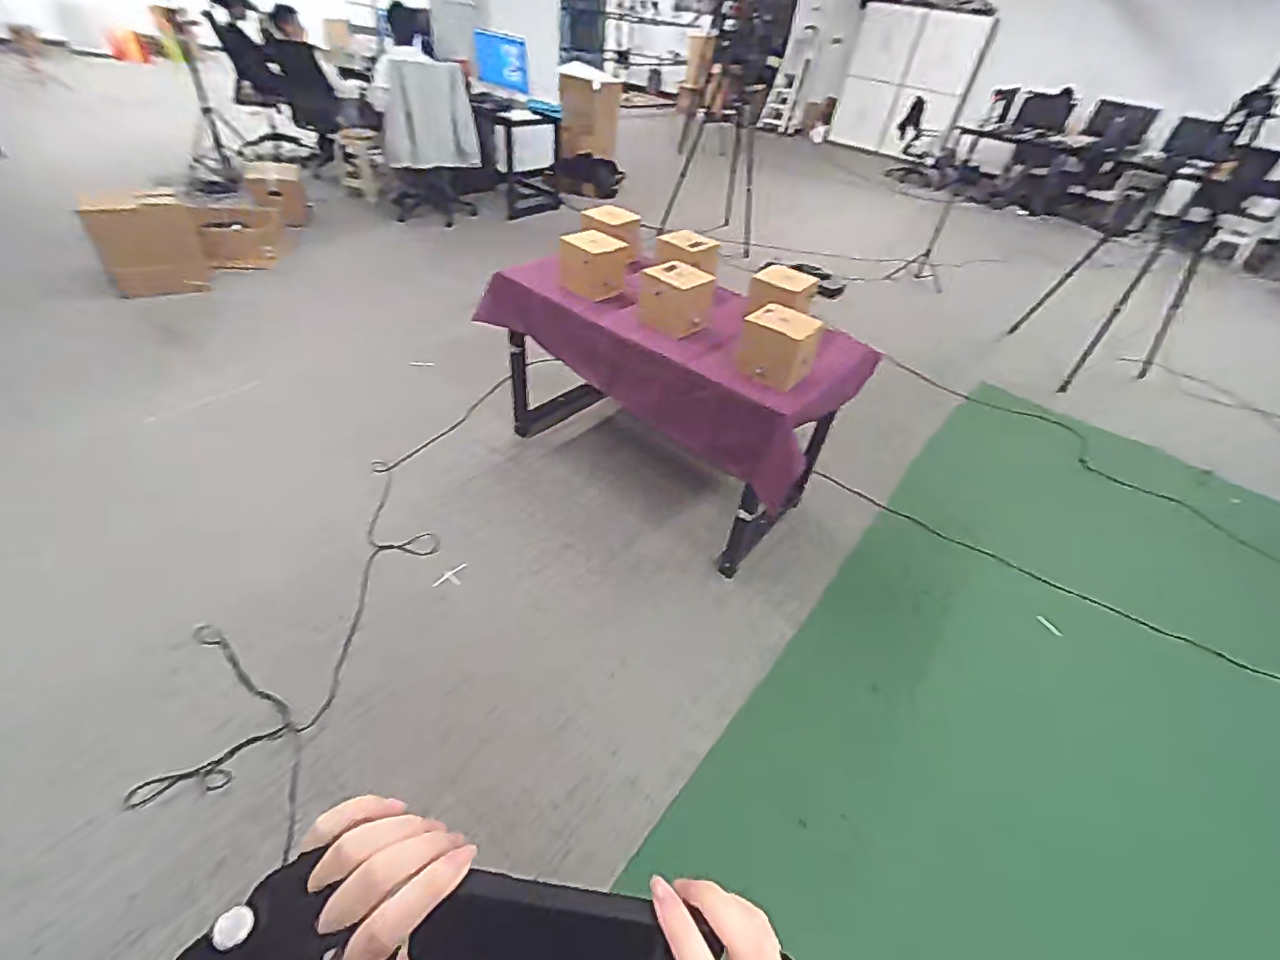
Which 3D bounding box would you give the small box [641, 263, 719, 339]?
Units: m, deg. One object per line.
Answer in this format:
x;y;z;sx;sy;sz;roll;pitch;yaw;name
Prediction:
0.123;-0.577;1.745;0.179;0.176;0.168;36;48;27;small box

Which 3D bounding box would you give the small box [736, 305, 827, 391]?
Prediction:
0.405;-0.377;1.564;0.179;0.176;0.168;32;46;25;small box

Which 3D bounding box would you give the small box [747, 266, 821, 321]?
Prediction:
0.479;-0.595;1.822;0.168;0.176;0.179;30;46;24;small box

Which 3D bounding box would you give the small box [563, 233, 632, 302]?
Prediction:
-0.154;-0.742;1.888;0.179;0.176;0.168;35;47;26;small box
